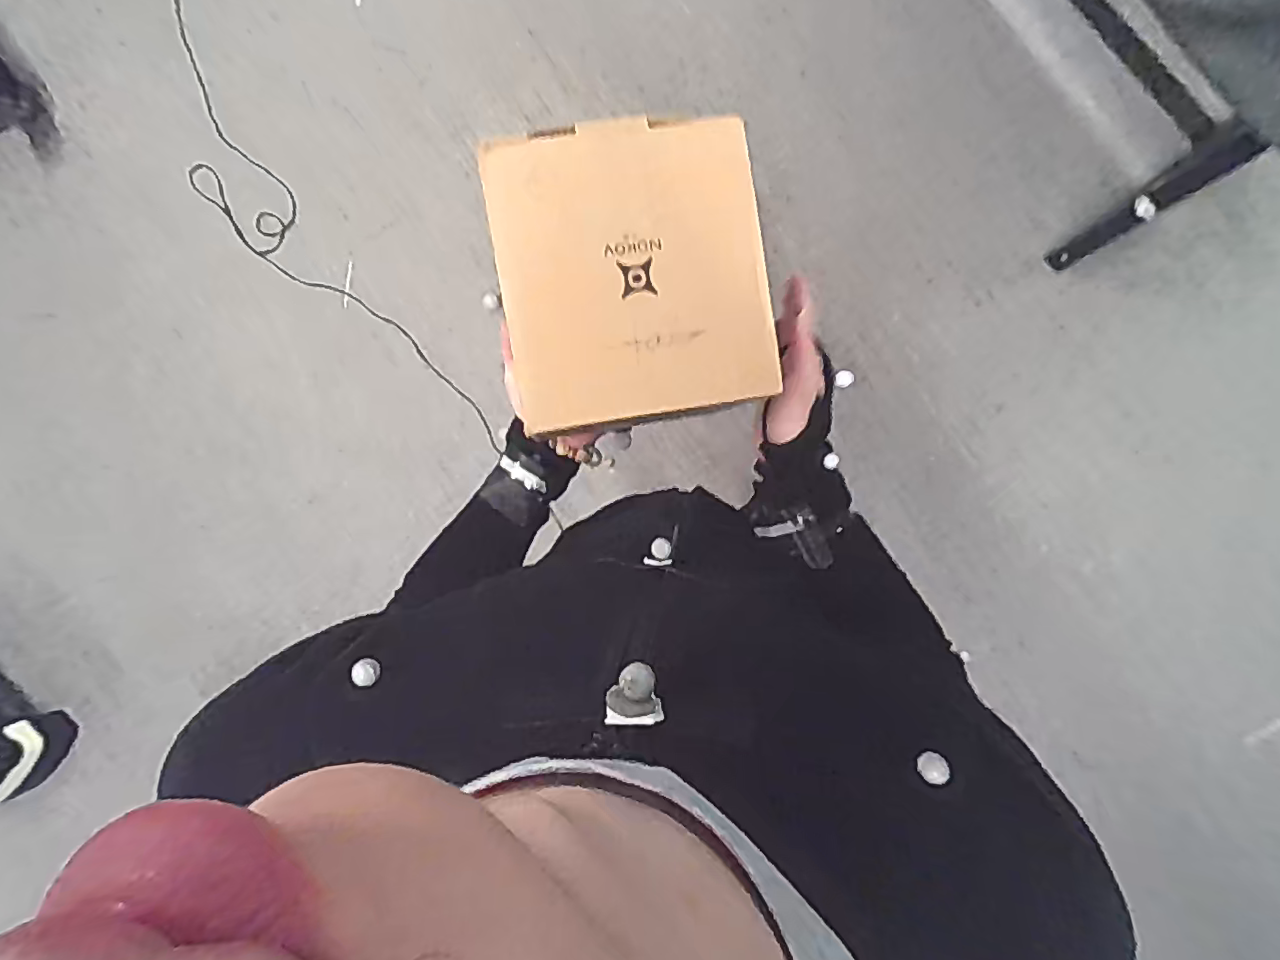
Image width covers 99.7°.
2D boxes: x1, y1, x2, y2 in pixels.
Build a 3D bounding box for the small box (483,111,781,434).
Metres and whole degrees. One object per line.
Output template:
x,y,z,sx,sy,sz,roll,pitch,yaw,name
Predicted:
-0.012,-0.136,0.413,0.168,0.176,0.179,-11,94,-6,small box
